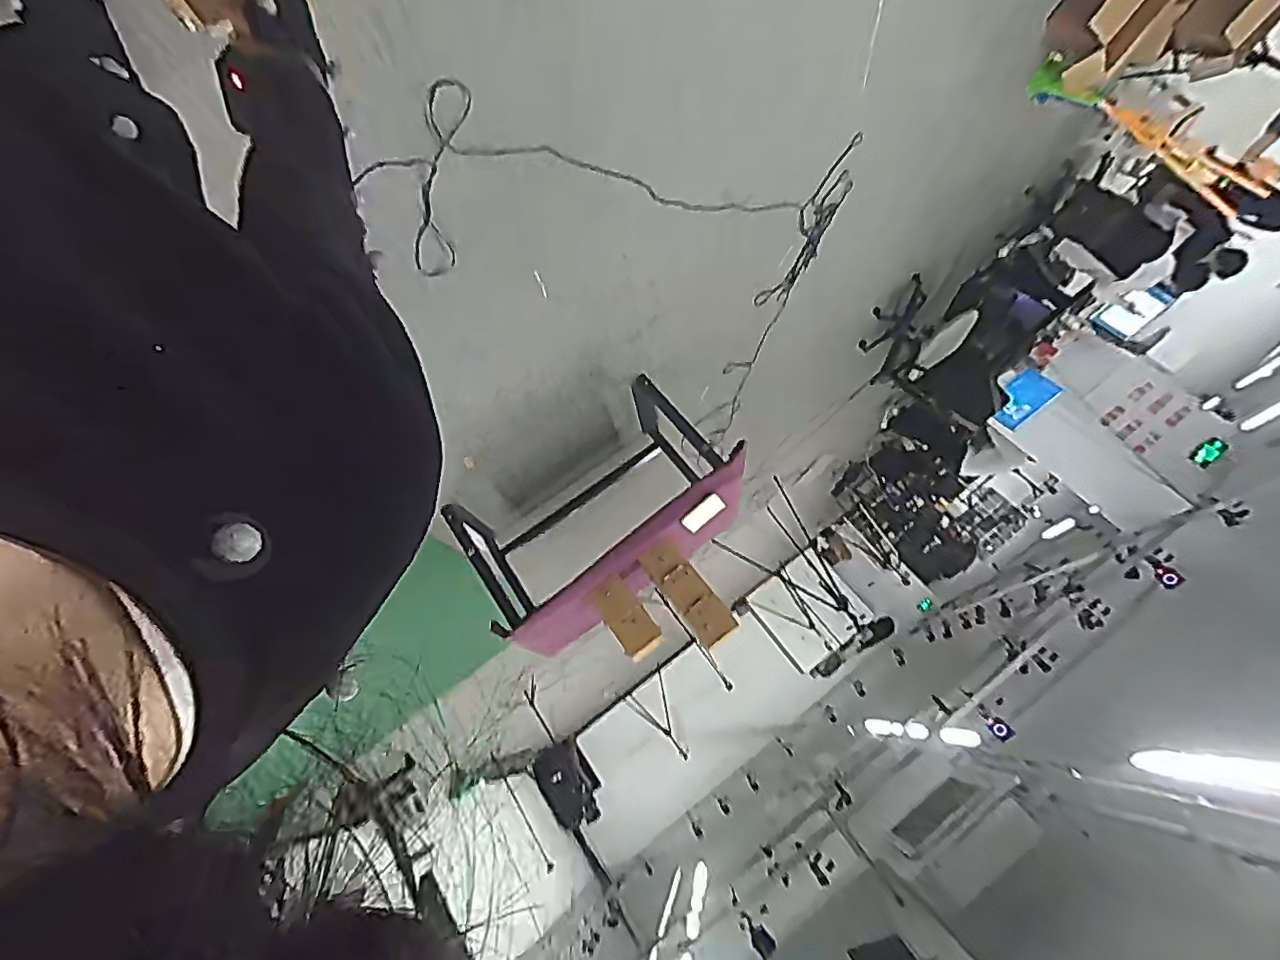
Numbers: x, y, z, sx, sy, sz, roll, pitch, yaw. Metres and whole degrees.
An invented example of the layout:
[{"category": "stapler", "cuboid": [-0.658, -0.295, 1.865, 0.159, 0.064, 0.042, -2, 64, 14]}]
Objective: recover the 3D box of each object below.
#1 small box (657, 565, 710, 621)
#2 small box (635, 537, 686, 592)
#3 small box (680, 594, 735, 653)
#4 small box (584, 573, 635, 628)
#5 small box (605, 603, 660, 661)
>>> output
[{"category": "small box", "cuboid": [0.188, 0.494, 2.366, 0.168, 0.176, 0.179, -35, 158, -10]}, {"category": "small box", "cuboid": [0.092, 0.378, 2.436, 0.168, 0.176, 0.179, -35, 156, -9]}, {"category": "small box", "cuboid": [0.283, 0.608, 2.299, 0.168, 0.176, 0.179, -34, 157, -10]}, {"category": "small box", "cuboid": [-0.128, 0.535, 2.386, 0.168, 0.176, 0.179, -36, 158, -10]}, {"category": "small box", "cuboid": [-0.031, 0.653, 2.331, 0.168, 0.176, 0.179, -35, 157, -10]}]
